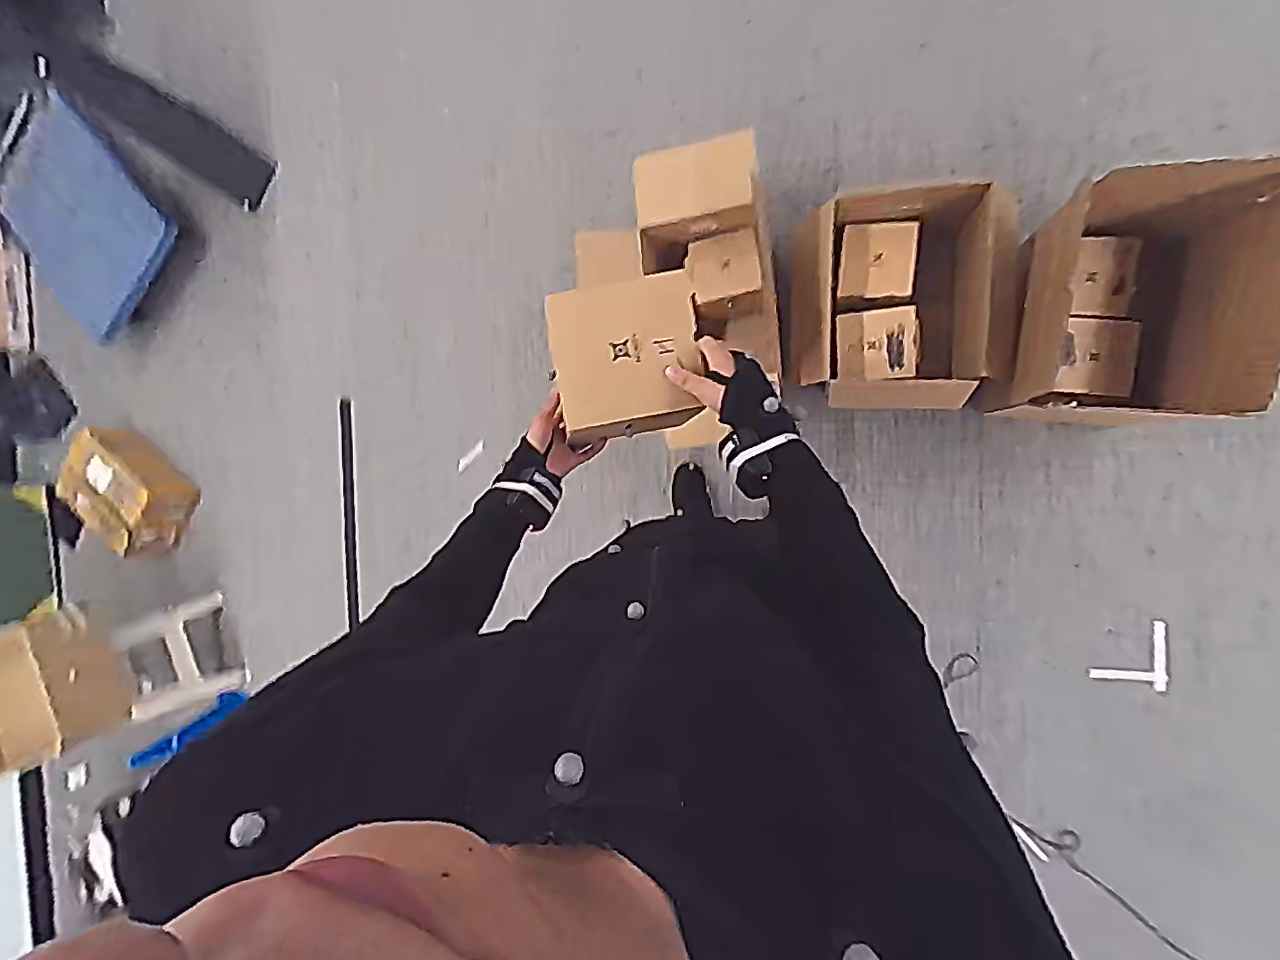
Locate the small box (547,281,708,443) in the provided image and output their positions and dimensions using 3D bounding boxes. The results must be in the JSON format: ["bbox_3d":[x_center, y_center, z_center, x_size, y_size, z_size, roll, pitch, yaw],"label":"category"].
[{"bbox_3d":[-0.024,-0.148,0.728,0.179,0.176,0.168,-10,90,-9],"label":"small box"}]
